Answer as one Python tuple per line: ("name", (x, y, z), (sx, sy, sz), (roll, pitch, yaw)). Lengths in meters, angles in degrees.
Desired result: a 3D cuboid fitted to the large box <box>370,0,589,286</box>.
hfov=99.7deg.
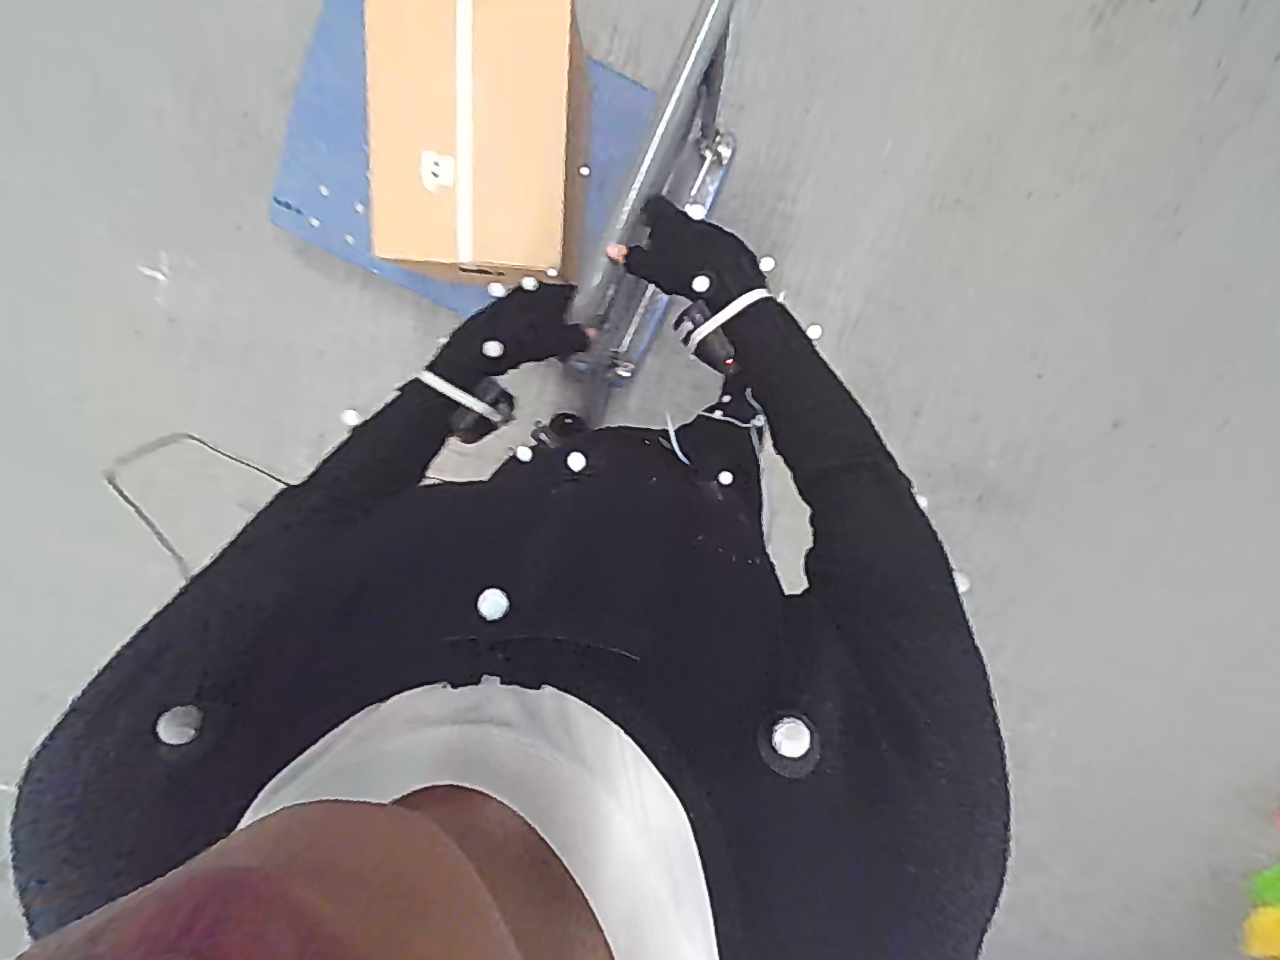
("large box", (-0.265, -0.596, 0.995), (0.320, 0.320, 0.408), (5, 104, -1))
